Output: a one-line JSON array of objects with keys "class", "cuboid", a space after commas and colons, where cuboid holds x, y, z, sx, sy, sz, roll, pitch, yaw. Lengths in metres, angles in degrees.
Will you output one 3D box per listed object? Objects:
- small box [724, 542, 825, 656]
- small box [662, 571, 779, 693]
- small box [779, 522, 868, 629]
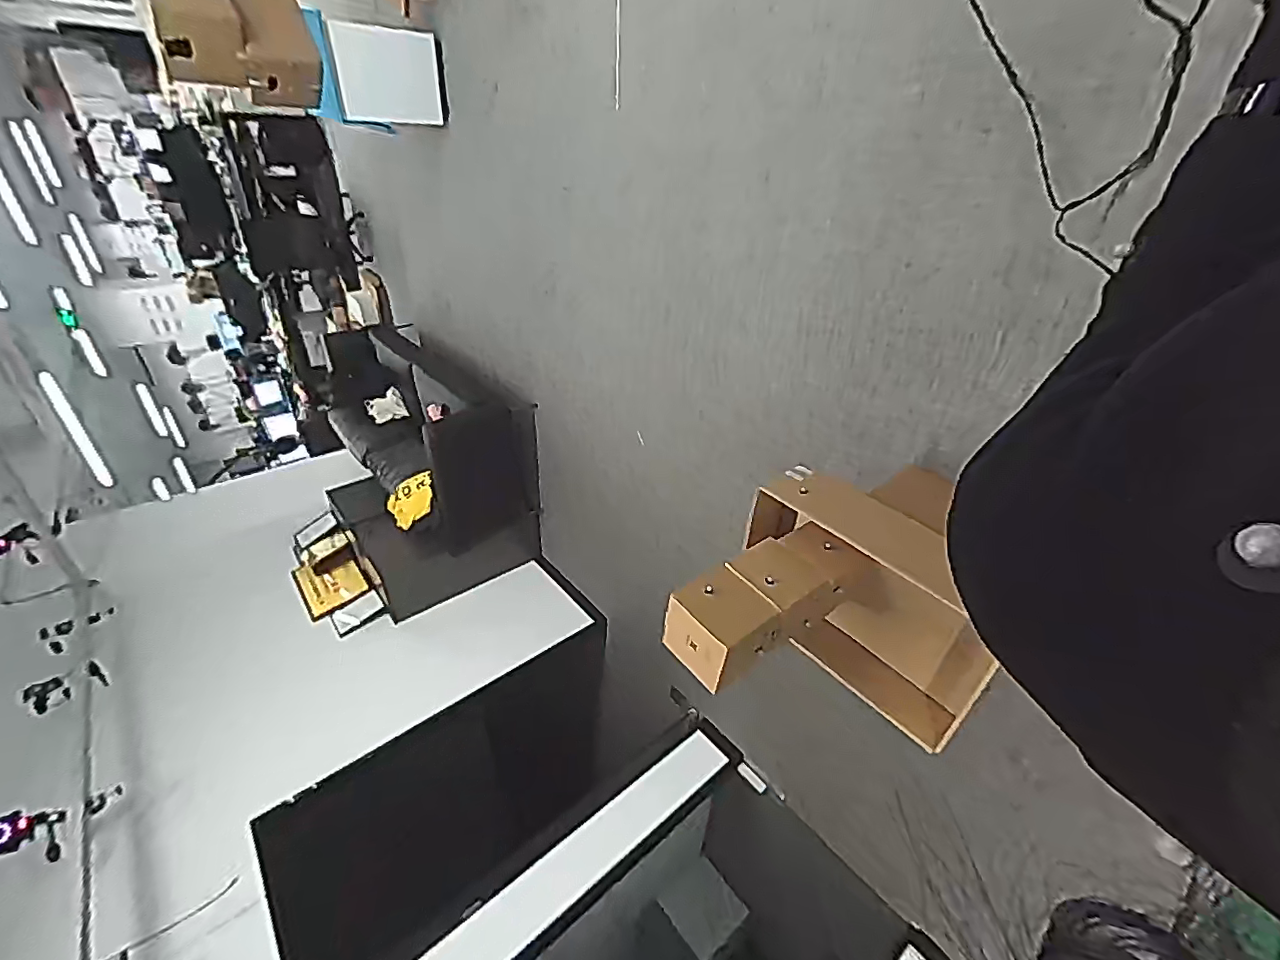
[{"class": "small box", "cuboid": [0.307, 0.273, 1.282, 0.179, 0.176, 0.168, 40, 137, 37]}, {"class": "small box", "cuboid": [0.175, 0.326, 1.202, 0.179, 0.176, 0.168, 39, 137, 37]}, {"class": "small box", "cuboid": [0.444, 0.233, 1.365, 0.168, 0.176, 0.179, 41, 138, 36]}]
